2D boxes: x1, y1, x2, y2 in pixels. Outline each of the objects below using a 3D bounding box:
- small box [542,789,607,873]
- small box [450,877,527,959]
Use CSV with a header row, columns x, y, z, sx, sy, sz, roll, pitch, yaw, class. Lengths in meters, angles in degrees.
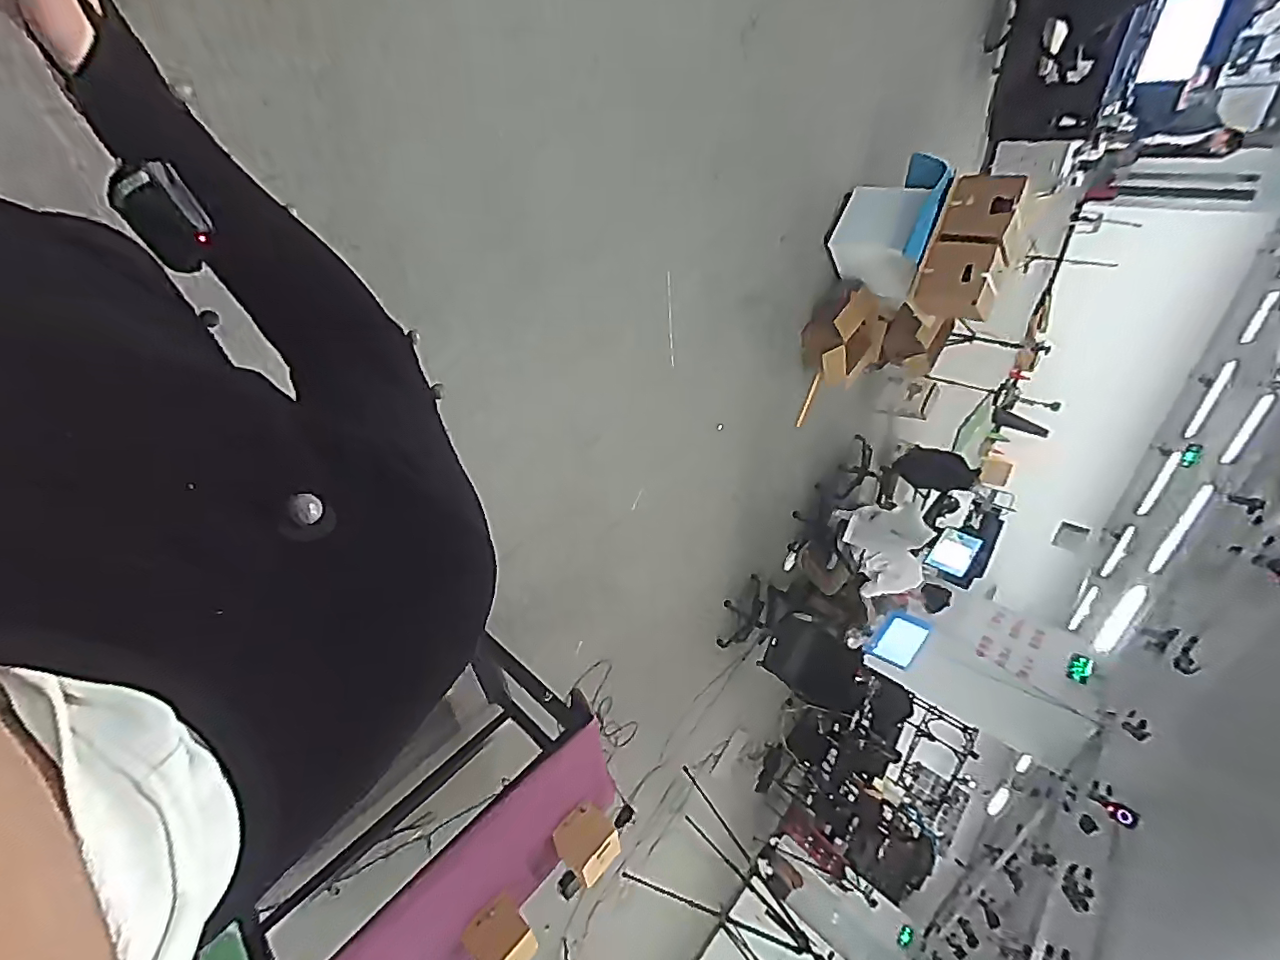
x,y,z,sx,sy,sz,roll,pitch,yaw,class
-0.243,1.285,1.992,0.168,0.176,0.179,-33,135,-36,small box
-0.499,1.466,1.782,0.168,0.176,0.179,-33,135,-38,small box
